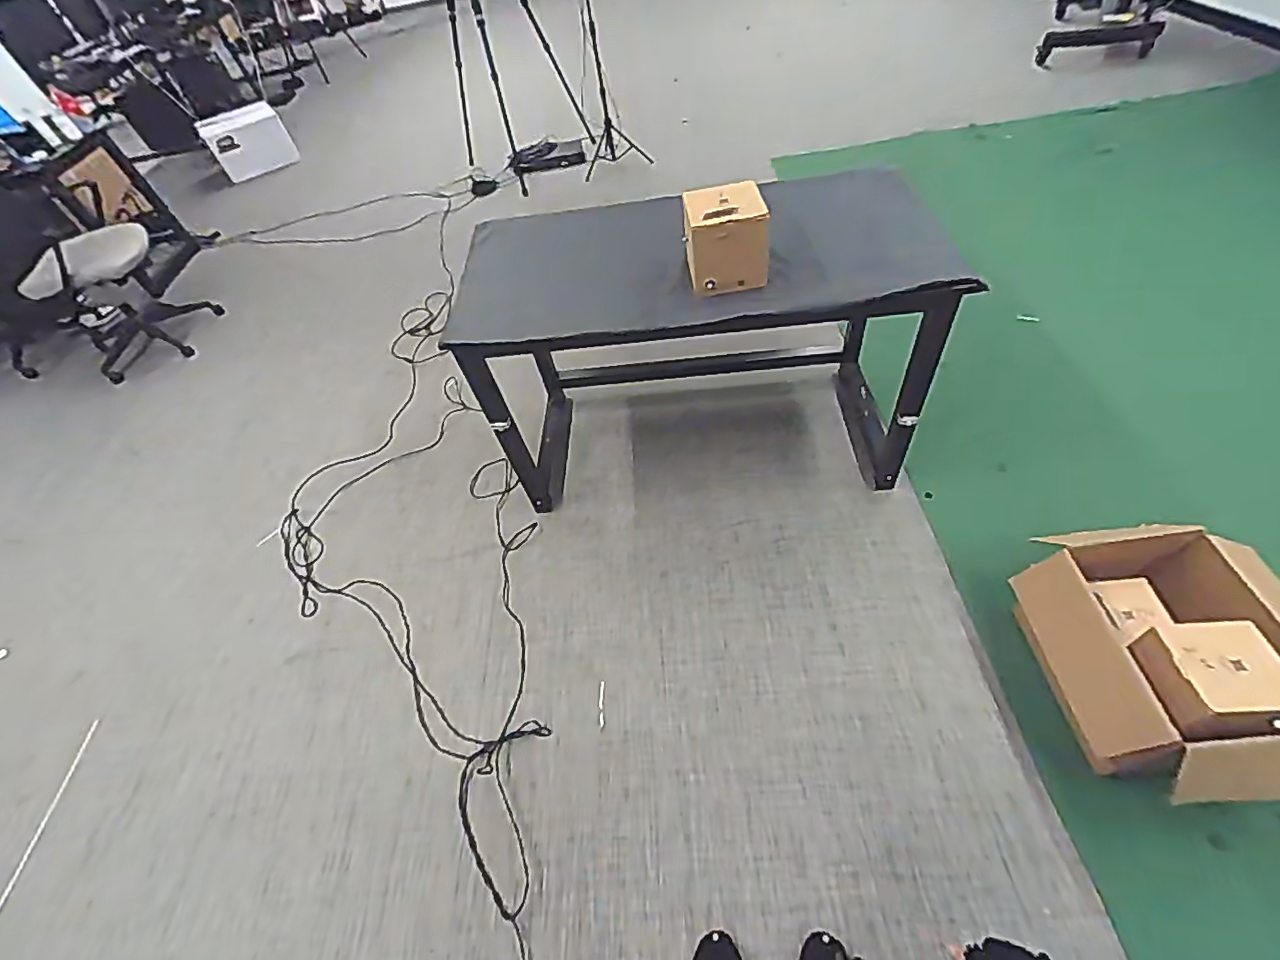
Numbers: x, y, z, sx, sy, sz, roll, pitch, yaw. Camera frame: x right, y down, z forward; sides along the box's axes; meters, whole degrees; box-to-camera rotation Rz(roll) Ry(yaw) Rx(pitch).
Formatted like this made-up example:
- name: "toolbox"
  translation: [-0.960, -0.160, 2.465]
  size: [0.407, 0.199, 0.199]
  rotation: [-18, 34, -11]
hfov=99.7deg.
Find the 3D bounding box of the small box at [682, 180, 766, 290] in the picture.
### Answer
- name: "small box"
  translation: [0.193, -0.553, 1.240]
  size: [0.168, 0.176, 0.179]
  rotation: [-8, 50, 4]
